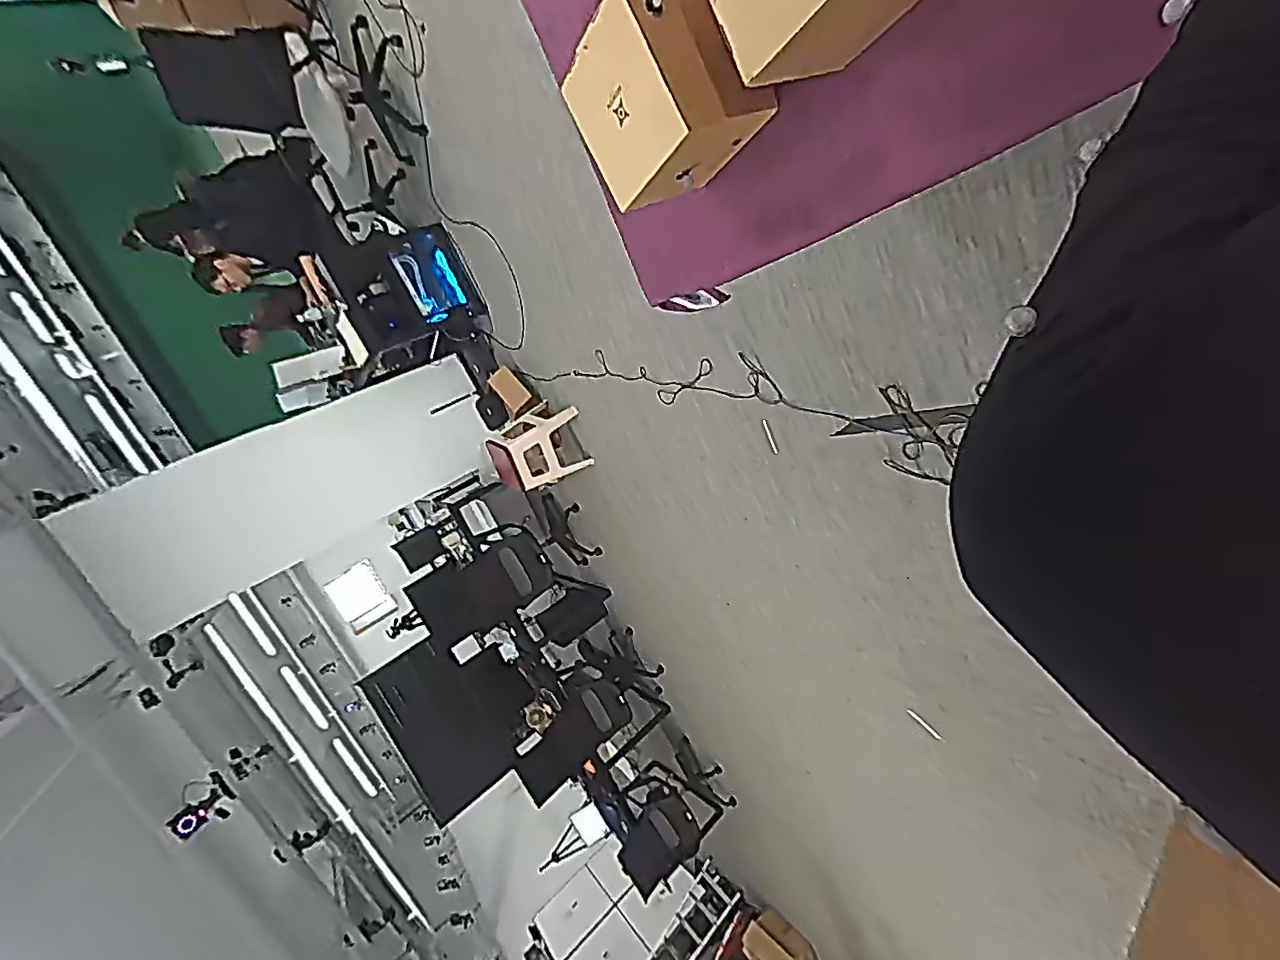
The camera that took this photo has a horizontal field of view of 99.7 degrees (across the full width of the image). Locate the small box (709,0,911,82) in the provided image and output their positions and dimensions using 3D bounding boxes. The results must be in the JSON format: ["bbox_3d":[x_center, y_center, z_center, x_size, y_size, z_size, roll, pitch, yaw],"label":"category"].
[{"bbox_3d":[0.166,-0.495,0.467,0.179,0.176,0.168,-9,110,60],"label":"small box"}]

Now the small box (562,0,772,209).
[{"bbox_3d":[0.035,-0.488,0.687,0.168,0.176,0.179,-15,105,61],"label":"small box"}]
